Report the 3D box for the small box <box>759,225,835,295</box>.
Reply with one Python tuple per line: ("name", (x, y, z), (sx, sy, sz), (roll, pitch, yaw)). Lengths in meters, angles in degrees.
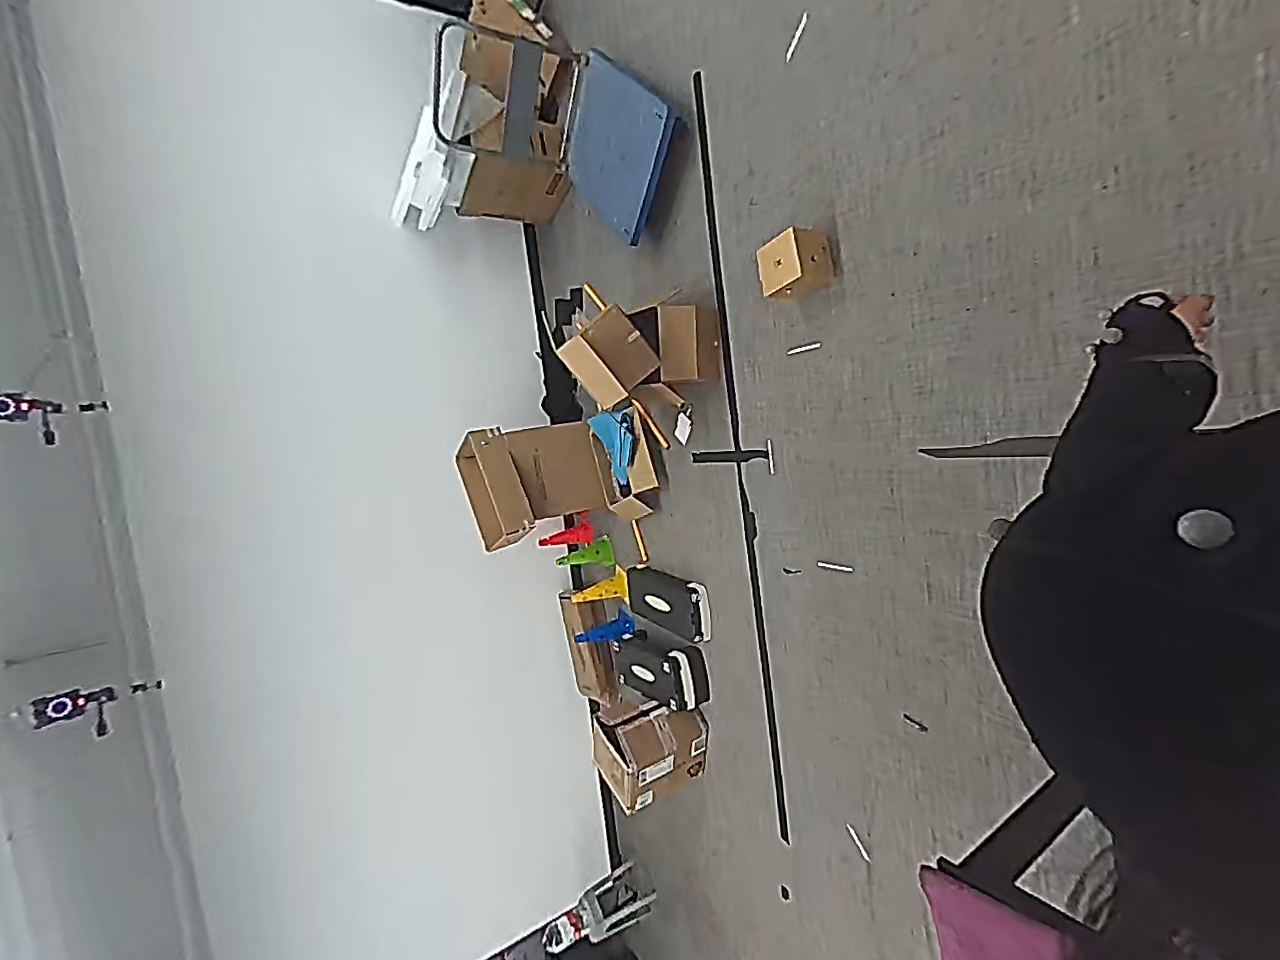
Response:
("small box", (0.534, -0.737, 1.823), (0.179, 0.176, 0.168), (-14, 86, 61))
